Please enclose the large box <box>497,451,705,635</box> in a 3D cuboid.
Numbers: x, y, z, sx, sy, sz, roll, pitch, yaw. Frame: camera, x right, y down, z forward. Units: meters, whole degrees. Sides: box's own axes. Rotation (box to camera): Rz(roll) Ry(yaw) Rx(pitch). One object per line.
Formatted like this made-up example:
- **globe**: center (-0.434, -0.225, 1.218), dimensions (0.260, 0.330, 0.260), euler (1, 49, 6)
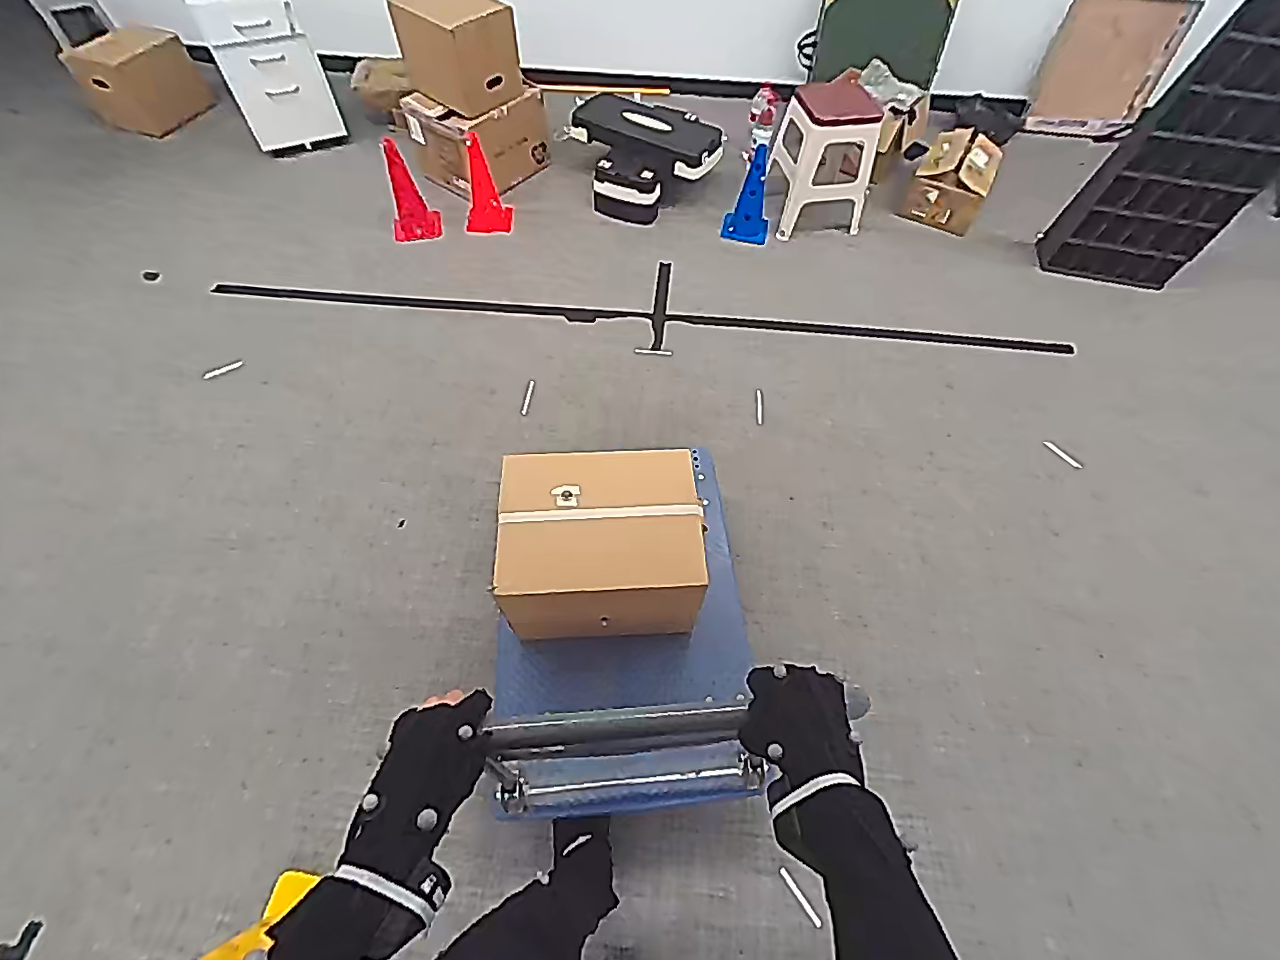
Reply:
- **large box**: center (-0.083, 0.153, 1.227), dimensions (0.408, 0.320, 0.320), euler (-2, 59, -2)
